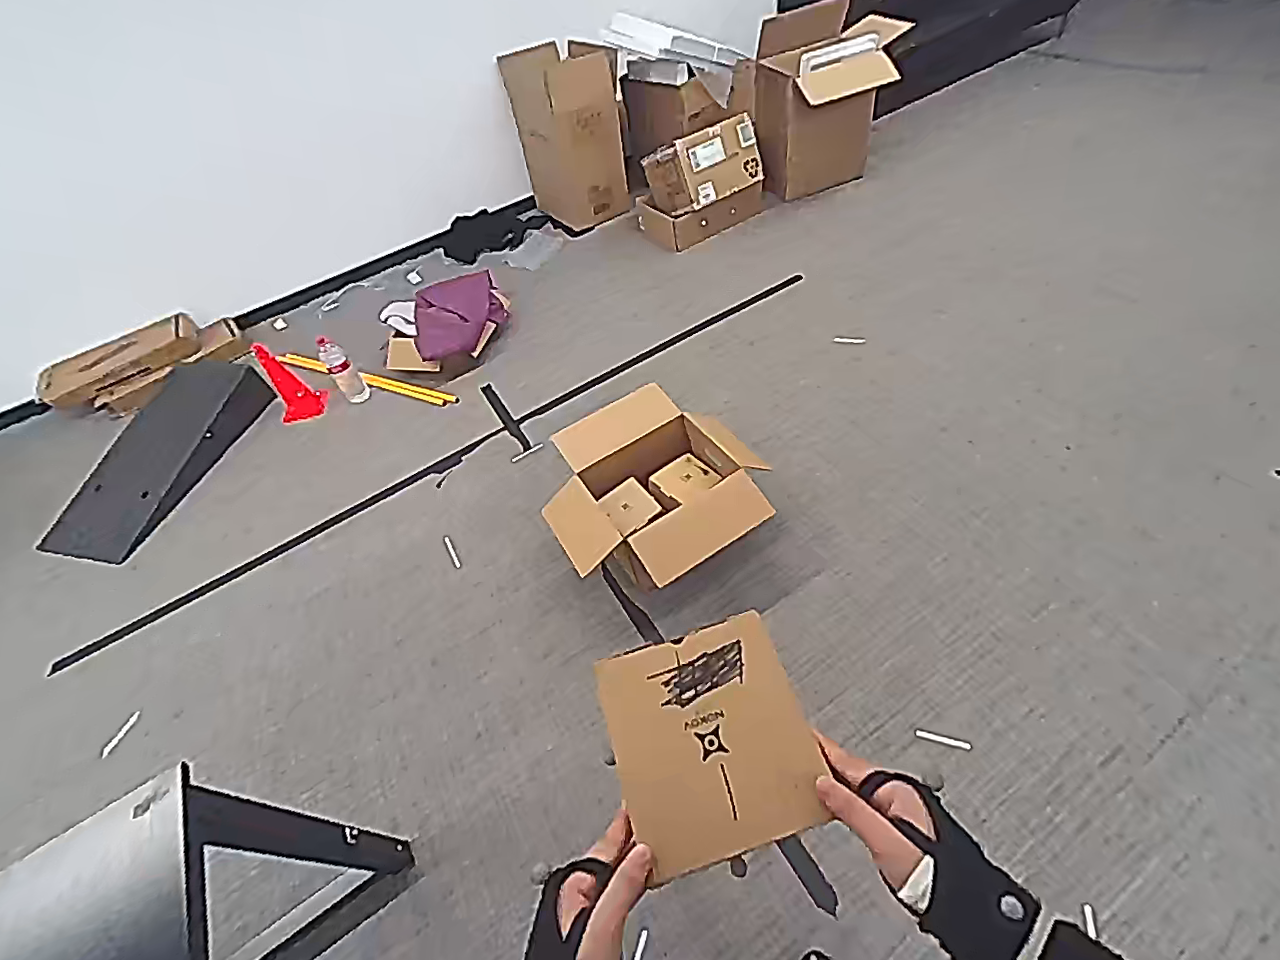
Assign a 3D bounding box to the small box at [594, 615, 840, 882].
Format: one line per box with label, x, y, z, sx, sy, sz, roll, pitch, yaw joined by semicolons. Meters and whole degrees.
small box;0.063;0.263;0.528;0.168;0.176;0.179;-17;55;-5
